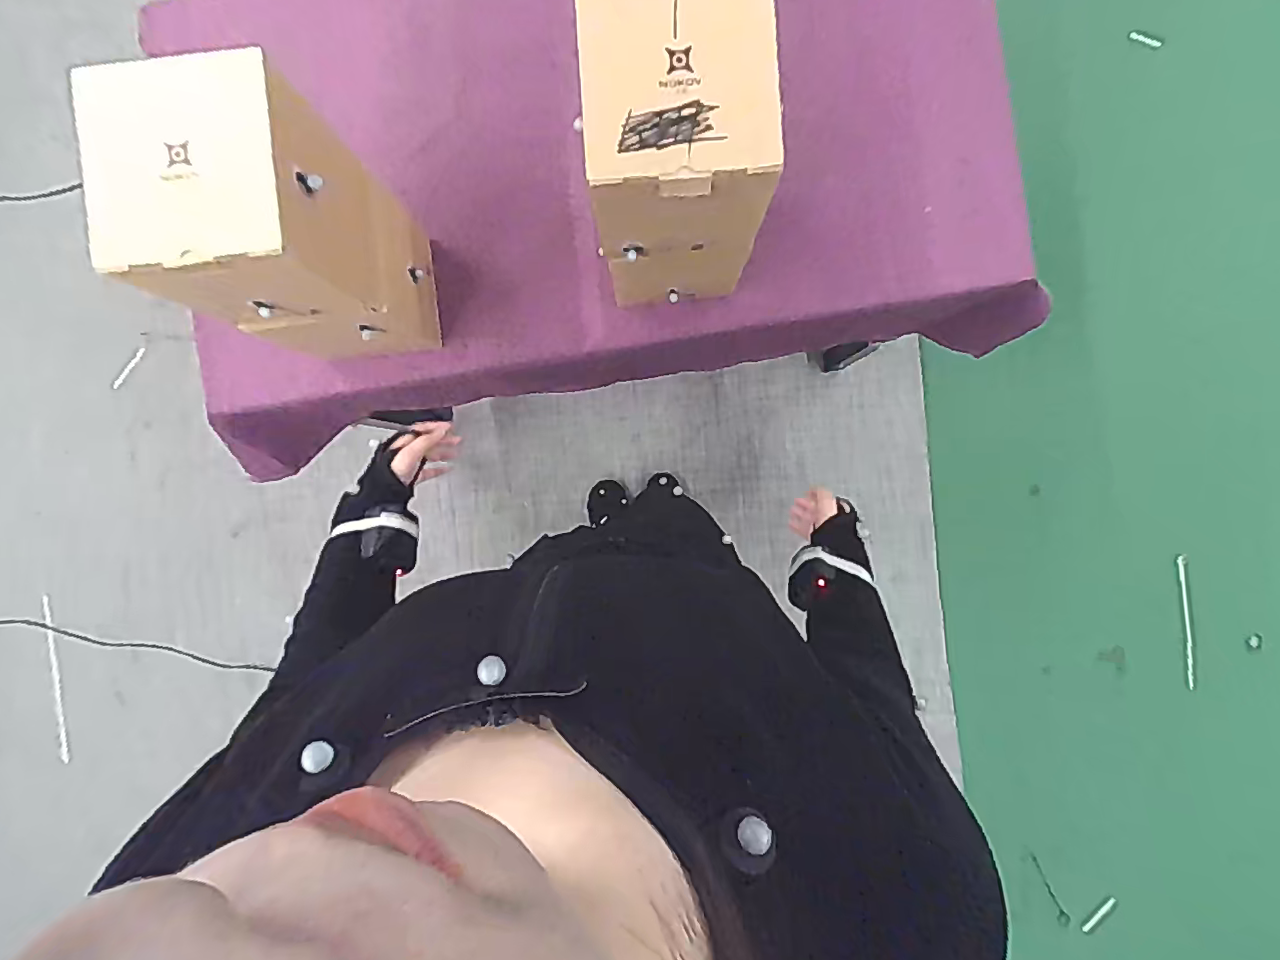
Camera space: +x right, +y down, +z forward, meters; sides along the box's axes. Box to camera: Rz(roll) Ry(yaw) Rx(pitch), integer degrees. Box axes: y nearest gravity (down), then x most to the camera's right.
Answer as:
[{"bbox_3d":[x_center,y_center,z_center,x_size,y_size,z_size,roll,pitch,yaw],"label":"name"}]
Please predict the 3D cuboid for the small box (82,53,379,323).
[{"bbox_3d":[-0.387,-0.273,0.543,0.168,0.176,0.179,-6,91,2],"label":"small box"}]

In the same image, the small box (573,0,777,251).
[{"bbox_3d":[0.033,-0.339,0.526,0.168,0.176,0.179,-3,90,2],"label":"small box"}]

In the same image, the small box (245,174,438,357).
[{"bbox_3d":[-0.379,-0.265,0.706,0.179,0.176,0.168,-6,90,2],"label":"small box"}]
